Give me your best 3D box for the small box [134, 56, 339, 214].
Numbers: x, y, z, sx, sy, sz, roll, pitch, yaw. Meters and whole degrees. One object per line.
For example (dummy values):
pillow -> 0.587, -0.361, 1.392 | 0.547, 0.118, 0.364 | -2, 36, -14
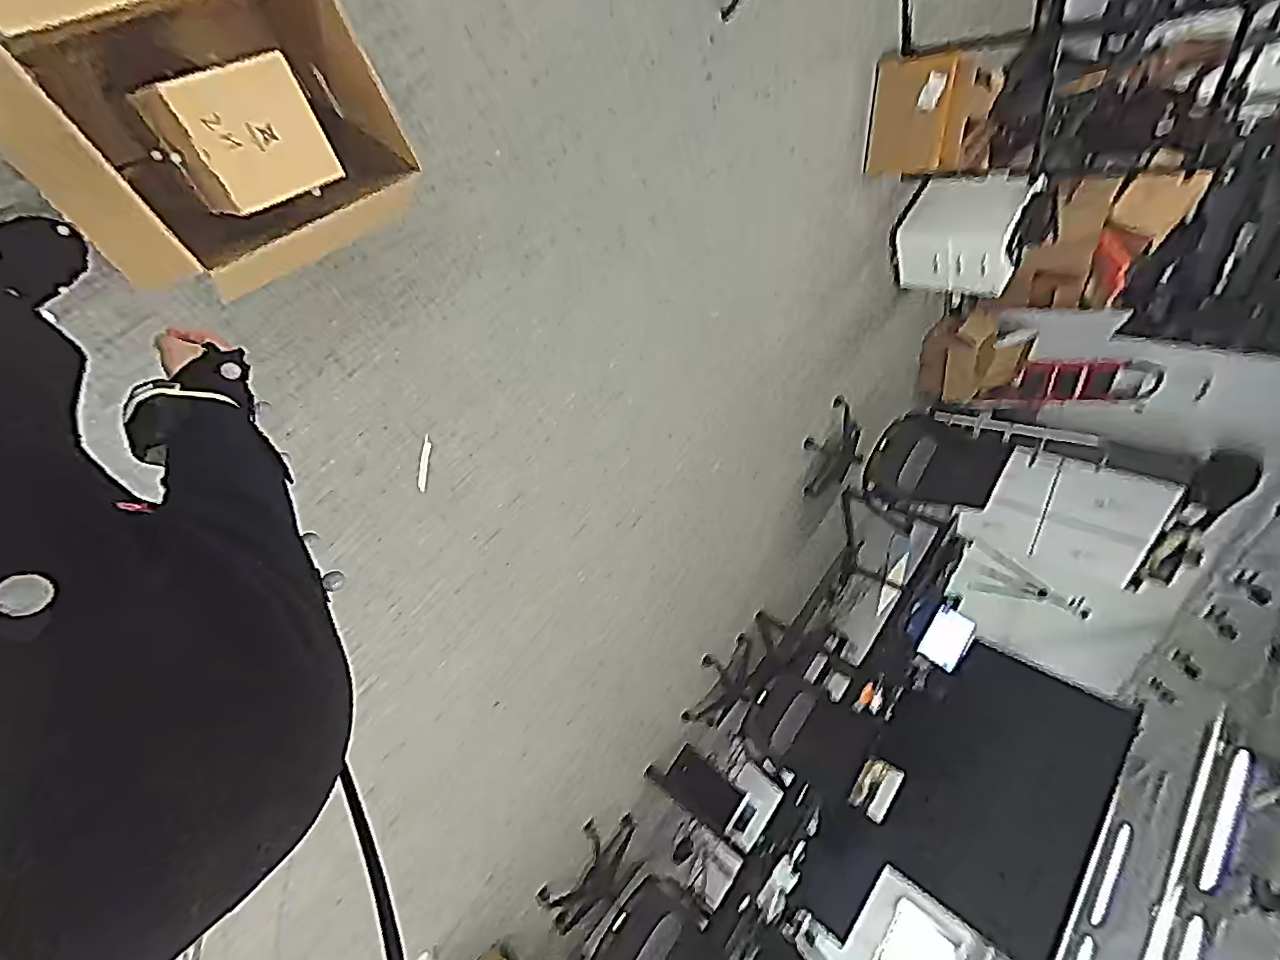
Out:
small box -> -0.623, -0.535, 0.841 | 0.179, 0.176, 0.168 | -44, 139, -28
